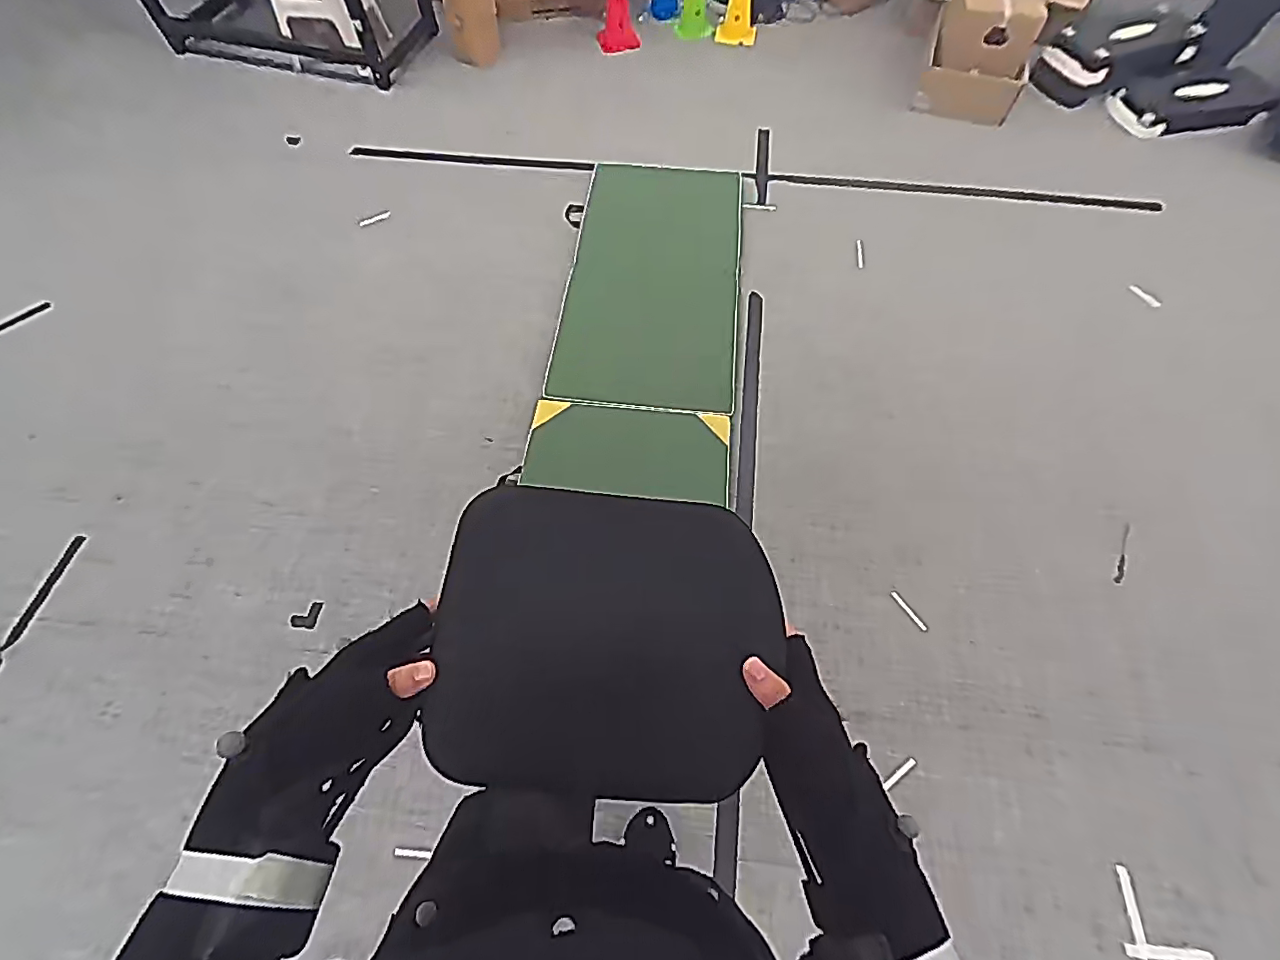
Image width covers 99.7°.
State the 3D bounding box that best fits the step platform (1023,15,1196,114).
[{"bbox_3d":[2.185,-1.942,2.519,0.684,0.204,0.286,-20,65,-10],"label":"step platform"}]
